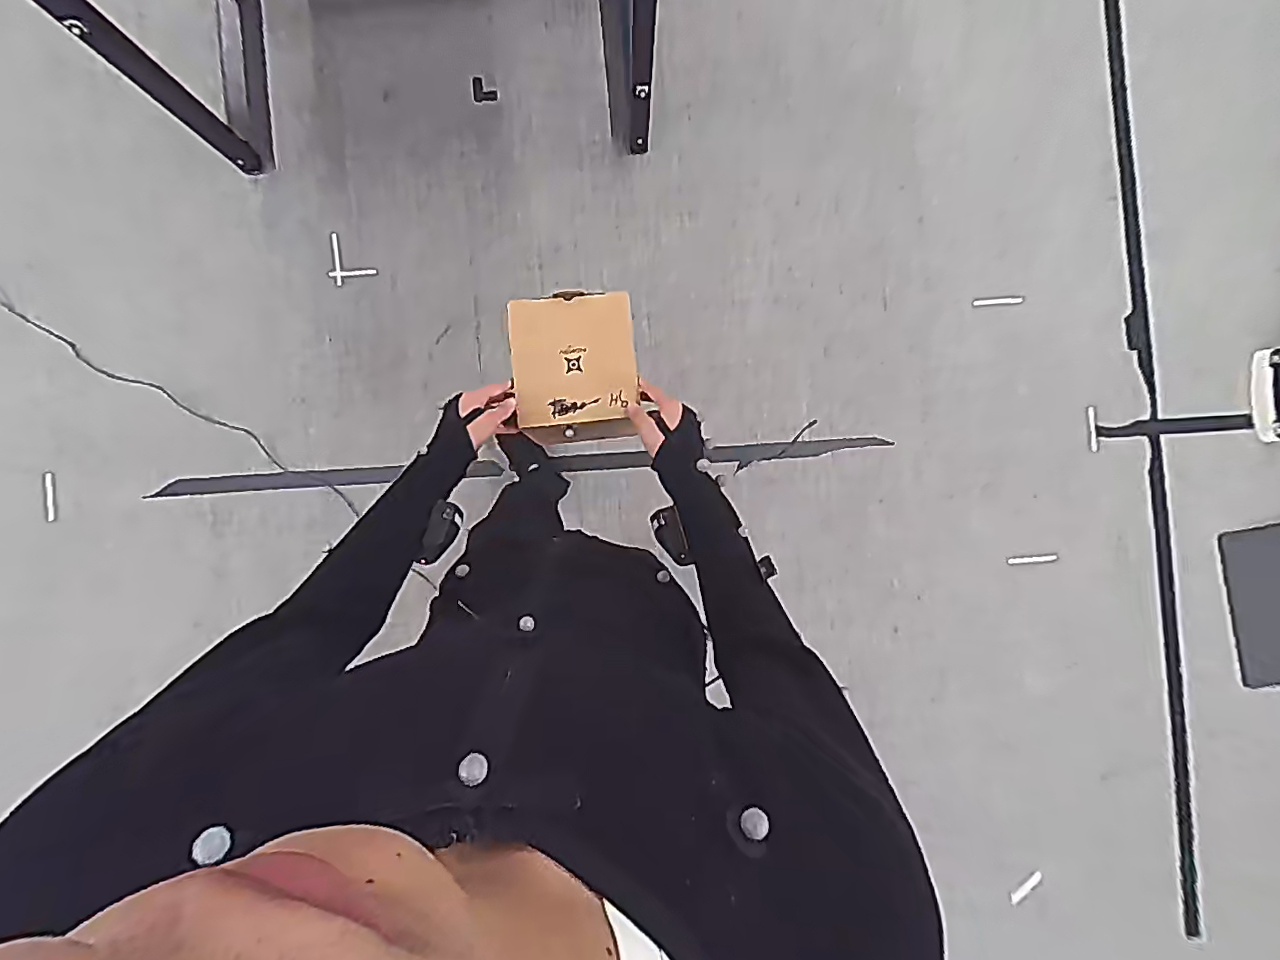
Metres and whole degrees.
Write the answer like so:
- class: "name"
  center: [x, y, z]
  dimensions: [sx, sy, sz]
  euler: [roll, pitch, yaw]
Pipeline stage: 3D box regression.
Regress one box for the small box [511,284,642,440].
- class: "small box"
  center: [-0.087, -0.163, 0.793]
  dimensions: [0.168, 0.176, 0.179]
  euler: [-5, 86, -1]
